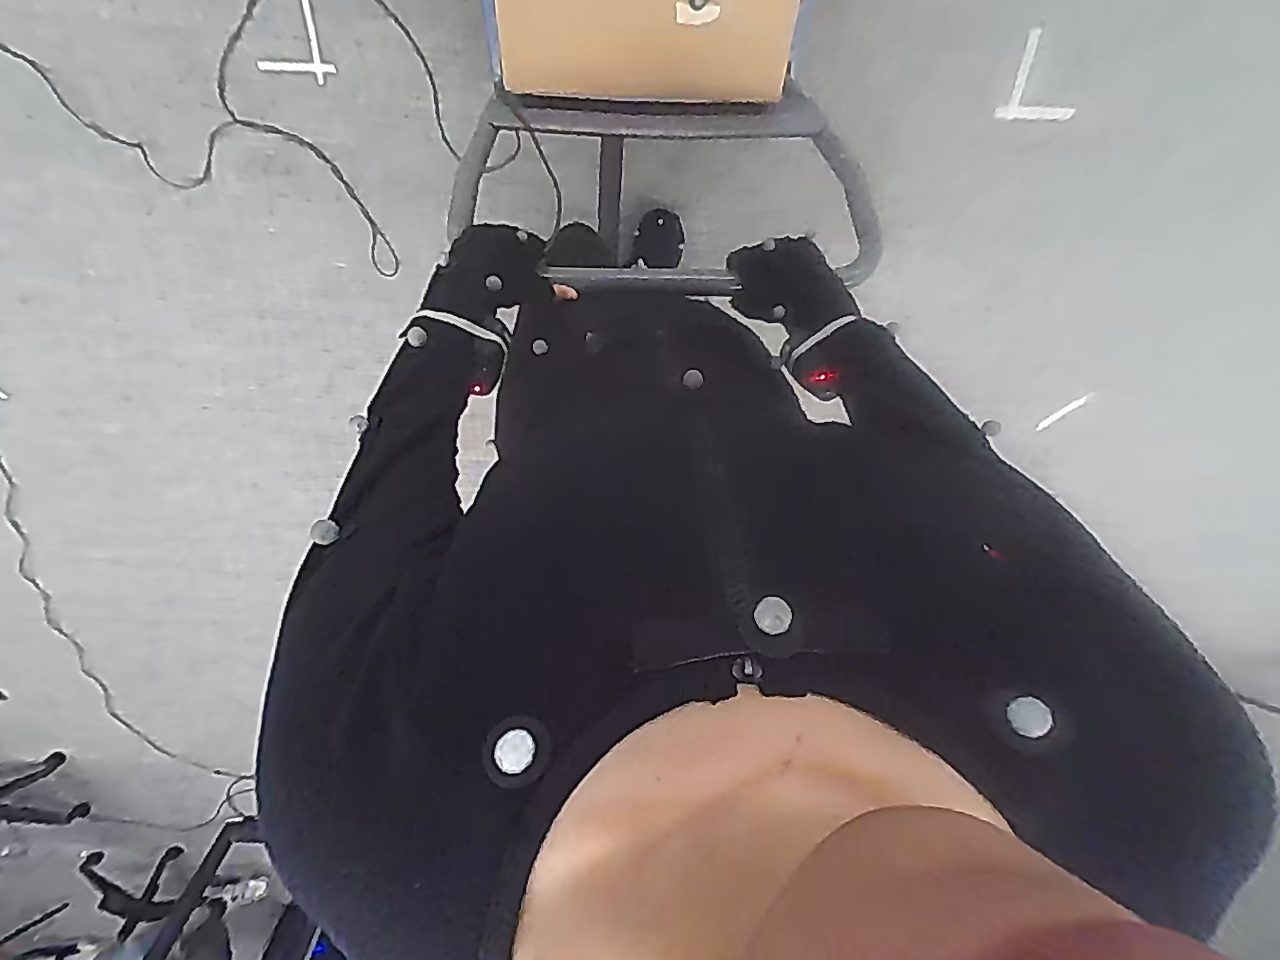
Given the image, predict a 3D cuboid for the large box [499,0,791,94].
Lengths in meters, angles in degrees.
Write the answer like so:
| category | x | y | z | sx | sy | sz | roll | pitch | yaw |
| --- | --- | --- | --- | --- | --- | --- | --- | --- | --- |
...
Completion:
| category | x | y | z | sx | sy | sz | roll | pitch | yaw |
| --- | --- | --- | --- | --- | --- | --- | --- | --- | --- |
| large box | 0.001 | -0.790 | 0.794 | 0.408 | 0.320 | 0.320 | -1 | 137 | -4 |
